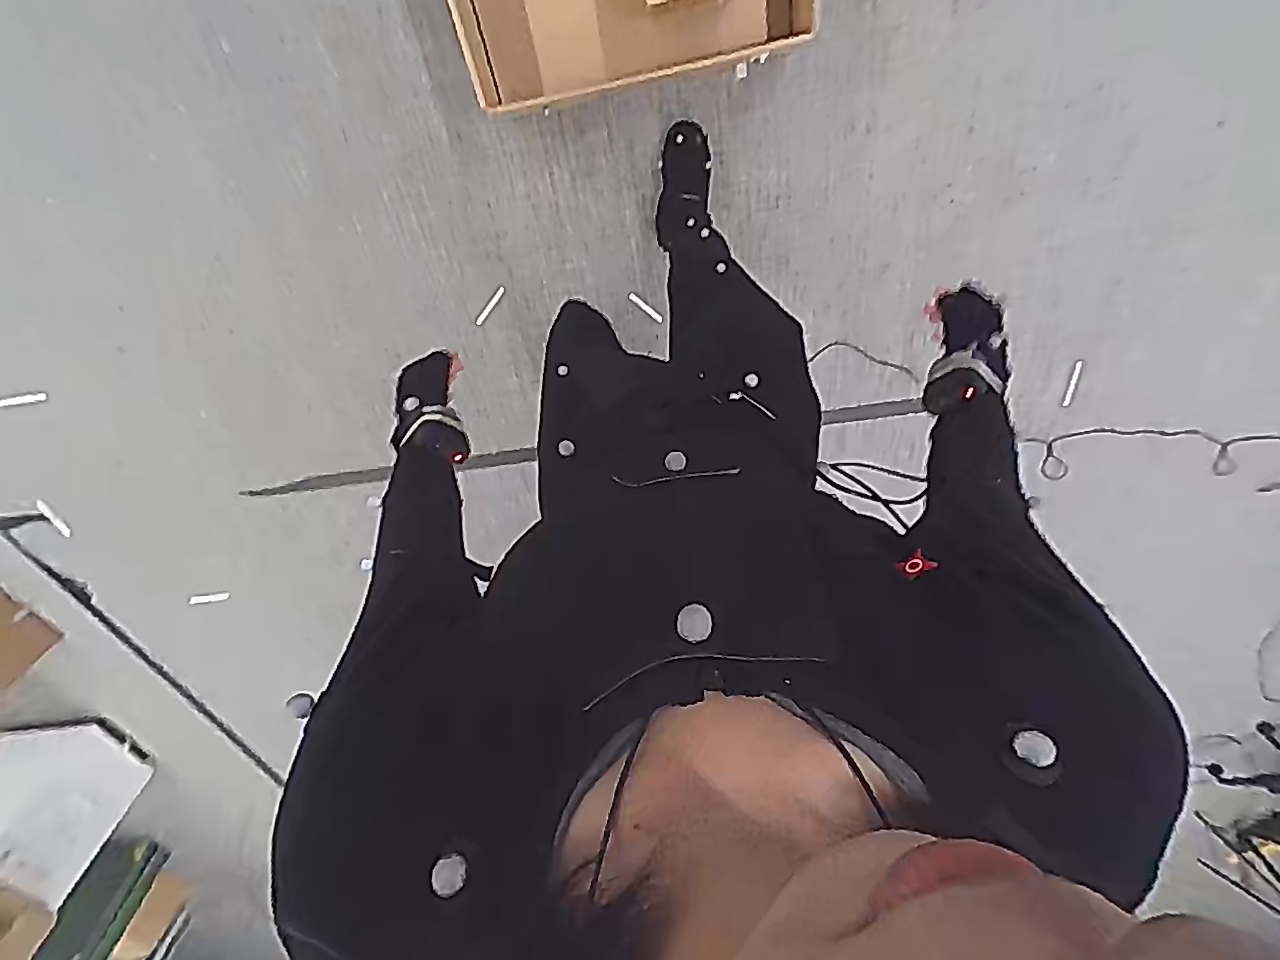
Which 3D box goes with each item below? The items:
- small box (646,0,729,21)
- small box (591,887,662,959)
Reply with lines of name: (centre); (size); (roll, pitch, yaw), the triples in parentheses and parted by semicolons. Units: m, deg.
small box: (0.087, -0.908, 0.912); (0.179, 0.176, 0.168); (-10, 123, 8)
small box: (-0.040, 1.325, 1.588); (0.179, 0.176, 0.168); (-12, 123, 6)
